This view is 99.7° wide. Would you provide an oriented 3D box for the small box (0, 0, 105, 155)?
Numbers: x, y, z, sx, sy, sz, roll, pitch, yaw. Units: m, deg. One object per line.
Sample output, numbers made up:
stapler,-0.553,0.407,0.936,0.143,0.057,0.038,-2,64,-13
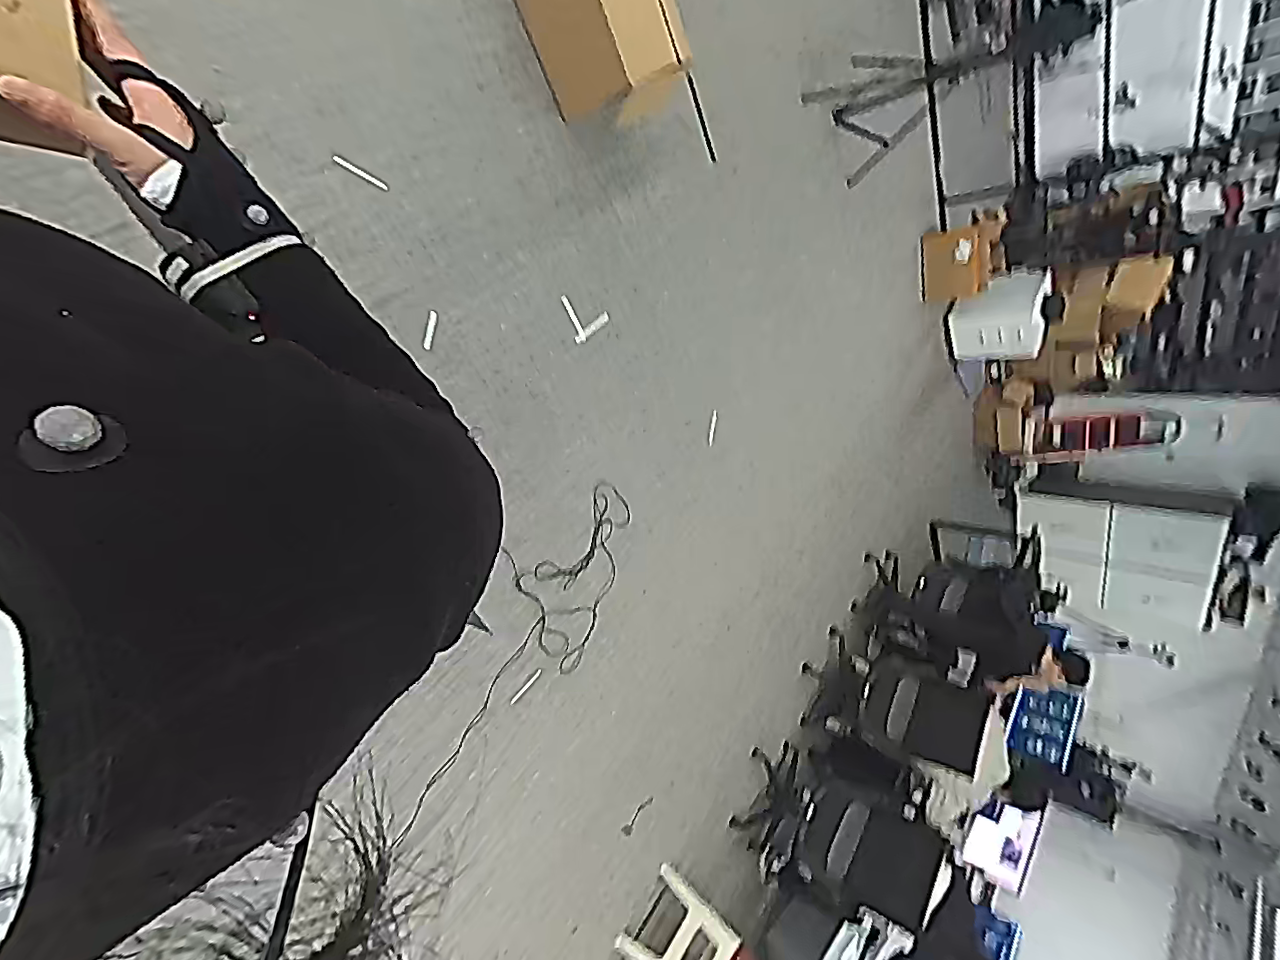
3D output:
small box,-0.459,-0.332,0.338,0.168,0.176,0.179,-8,108,-44
